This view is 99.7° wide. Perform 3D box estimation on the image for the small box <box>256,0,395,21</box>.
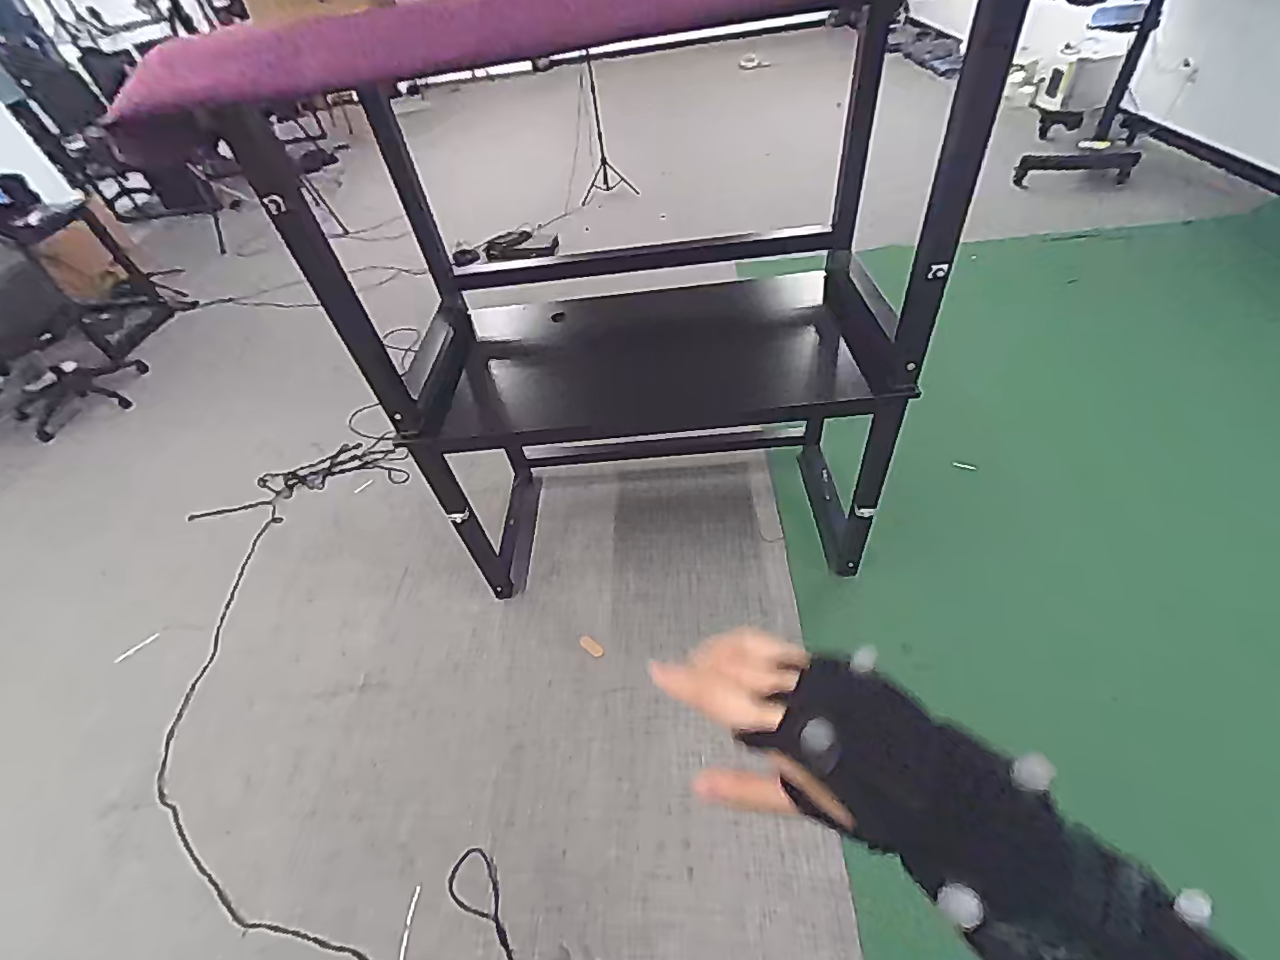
[{"bbox_3d":[-0.465,-0.765,0.758,0.168,0.176,0.179,-8,45,0],"label":"small box"}]
